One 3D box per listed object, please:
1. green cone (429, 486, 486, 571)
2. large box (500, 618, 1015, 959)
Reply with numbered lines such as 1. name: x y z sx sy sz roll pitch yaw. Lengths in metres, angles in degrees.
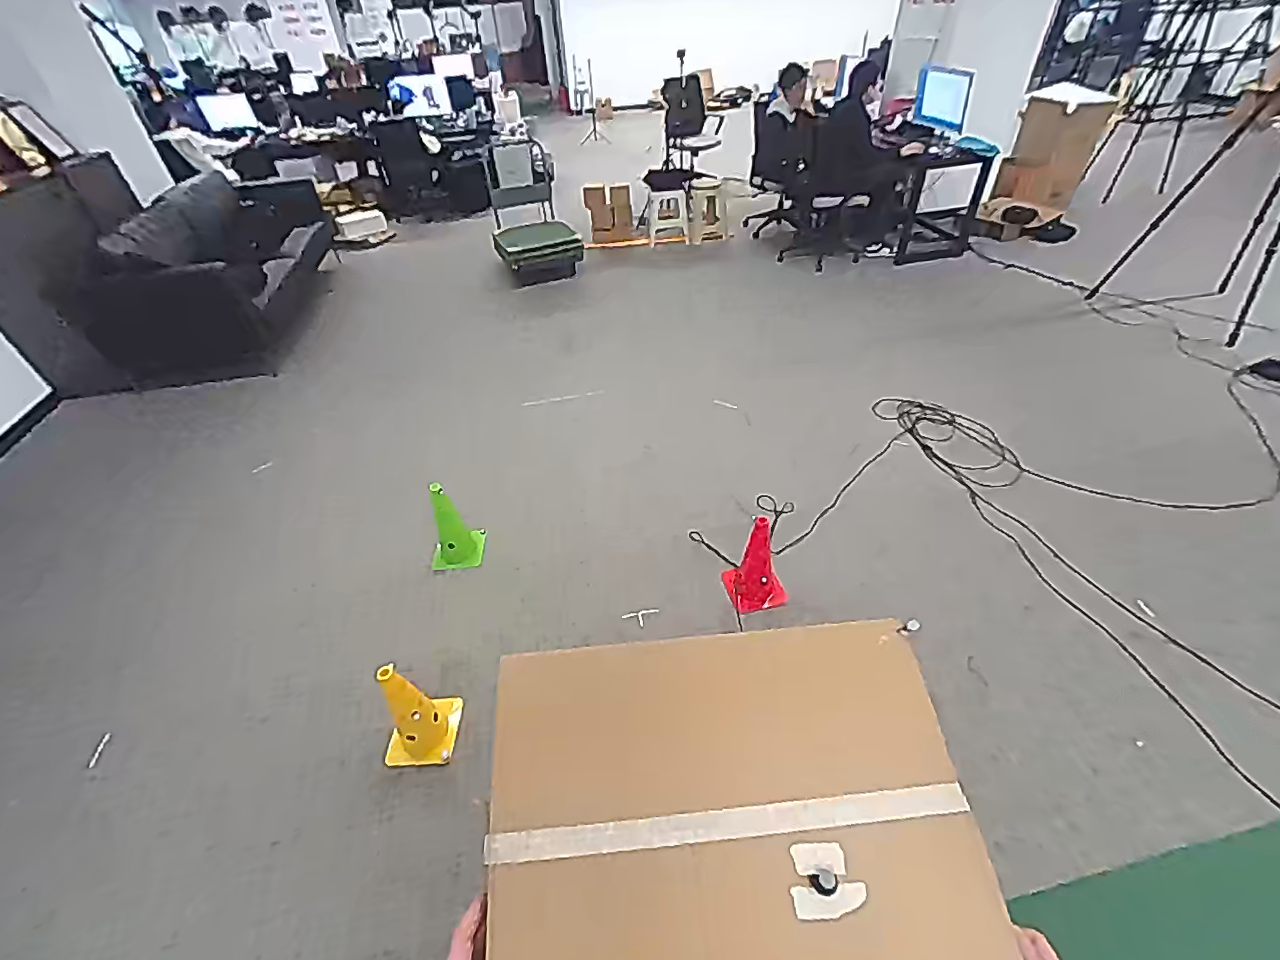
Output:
1. green cone: -0.757 0.165 2.123 0.200 0.368 0.202 -6 42 -2
2. large box: 0.079 0.369 0.593 0.408 0.320 0.320 -5 59 -3
